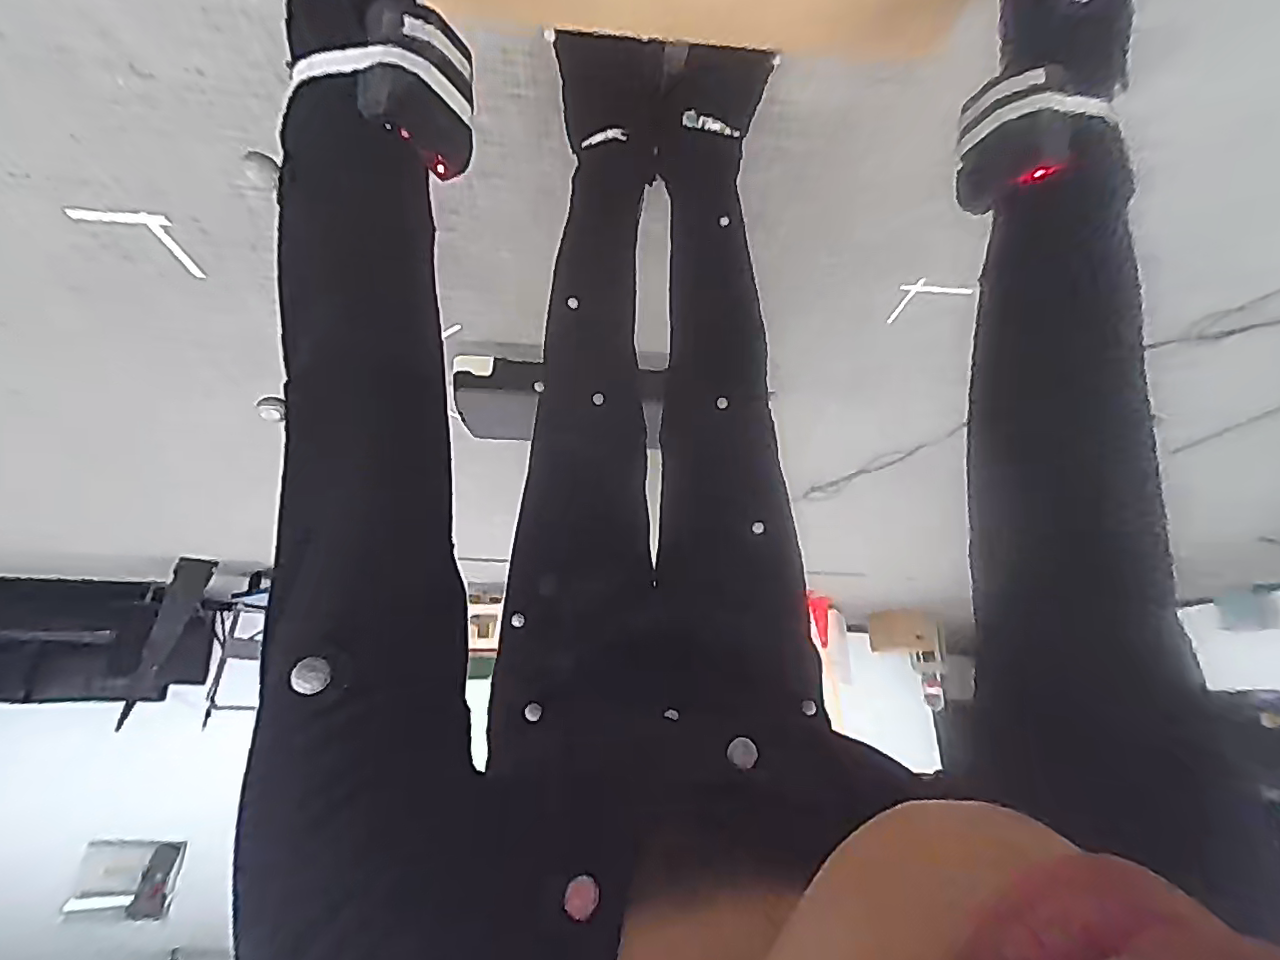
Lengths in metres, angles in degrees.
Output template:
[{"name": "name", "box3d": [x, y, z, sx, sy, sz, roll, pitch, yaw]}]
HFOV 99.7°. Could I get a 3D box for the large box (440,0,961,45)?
[{"name": "large box", "box3d": [0.051, -0.554, 0.351, 0.408, 0.320, 0.320, 2, 156, -3]}]
